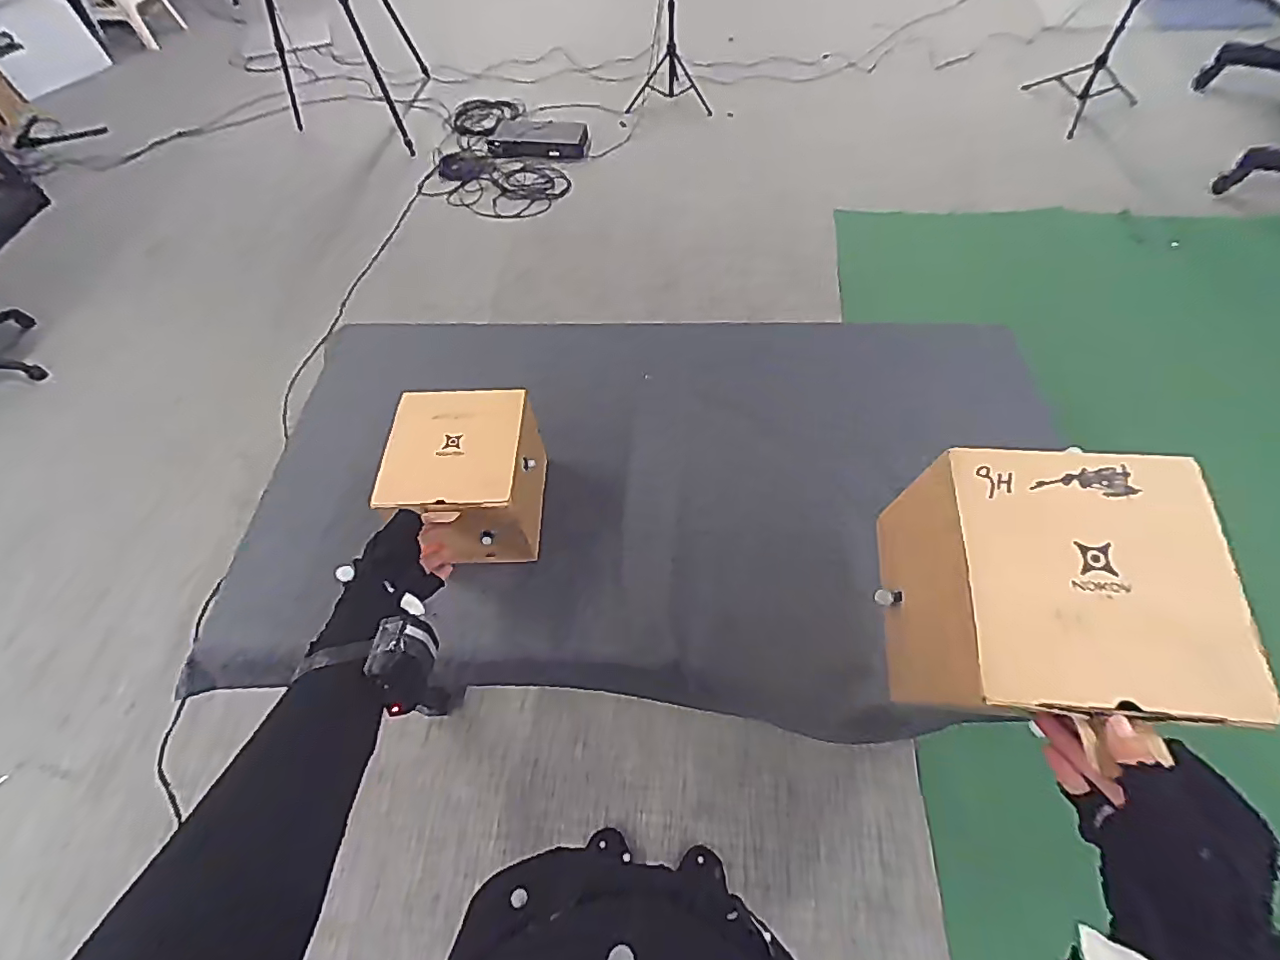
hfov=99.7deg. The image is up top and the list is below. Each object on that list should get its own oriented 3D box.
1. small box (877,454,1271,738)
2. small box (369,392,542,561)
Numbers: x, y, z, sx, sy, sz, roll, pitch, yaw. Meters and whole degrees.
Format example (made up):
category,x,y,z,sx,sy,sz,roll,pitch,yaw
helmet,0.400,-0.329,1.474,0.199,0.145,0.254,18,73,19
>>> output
category,x,y,z,sx,sy,sz,roll,pitch,yaw
small box,0.302,0.094,0.428,0.168,0.176,0.179,3,69,5
small box,-0.231,0.002,0.732,0.168,0.176,0.179,-1,57,0
